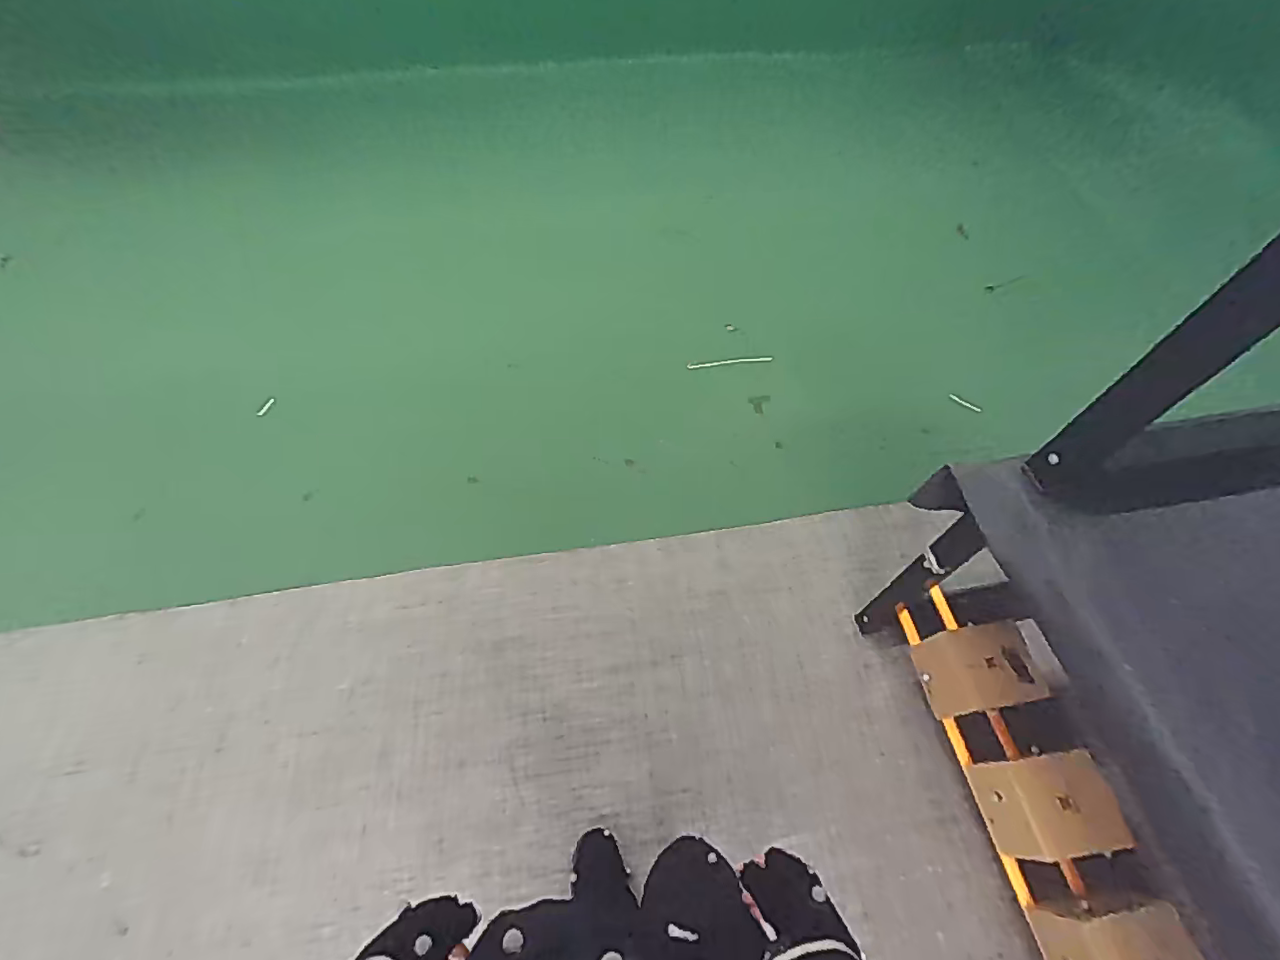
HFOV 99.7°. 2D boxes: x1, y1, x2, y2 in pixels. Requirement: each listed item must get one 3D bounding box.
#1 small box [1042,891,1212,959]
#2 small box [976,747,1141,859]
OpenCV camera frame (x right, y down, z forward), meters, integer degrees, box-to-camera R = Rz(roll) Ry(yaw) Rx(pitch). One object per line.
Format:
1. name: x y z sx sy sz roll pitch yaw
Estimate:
1. small box: 0.861 0.849 0.952 0.179 0.176 0.168 -9 58 -5
2. small box: 0.814 0.645 1.082 0.179 0.176 0.168 -8 59 -4
